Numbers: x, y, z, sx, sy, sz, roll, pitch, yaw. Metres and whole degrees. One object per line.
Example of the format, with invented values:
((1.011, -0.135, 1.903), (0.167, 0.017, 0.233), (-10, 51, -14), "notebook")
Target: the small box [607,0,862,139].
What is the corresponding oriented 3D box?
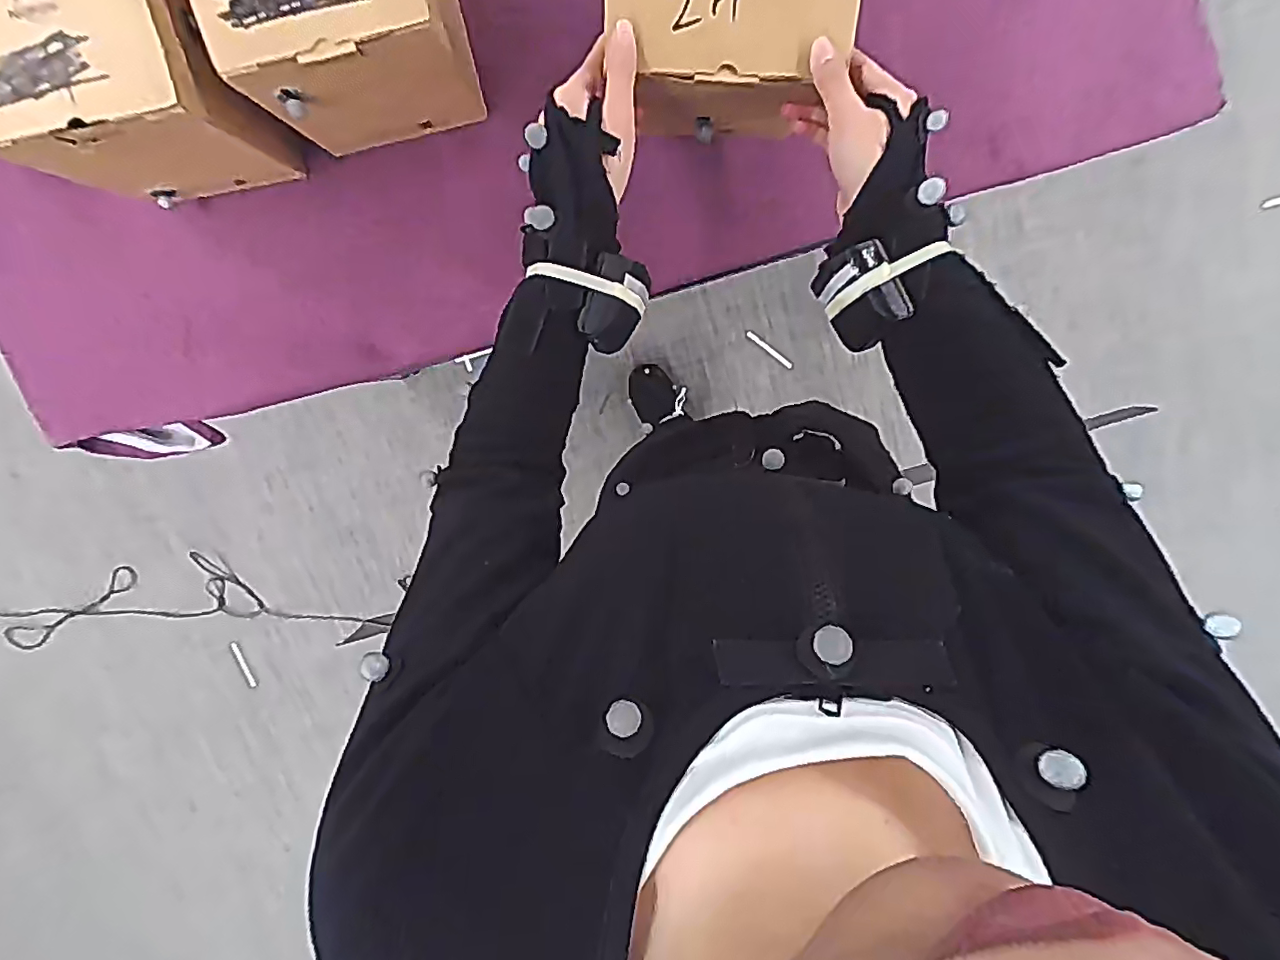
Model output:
((0.061, -0.379, 0.403), (0.168, 0.176, 0.179), (1, 111, -1), "small box")
